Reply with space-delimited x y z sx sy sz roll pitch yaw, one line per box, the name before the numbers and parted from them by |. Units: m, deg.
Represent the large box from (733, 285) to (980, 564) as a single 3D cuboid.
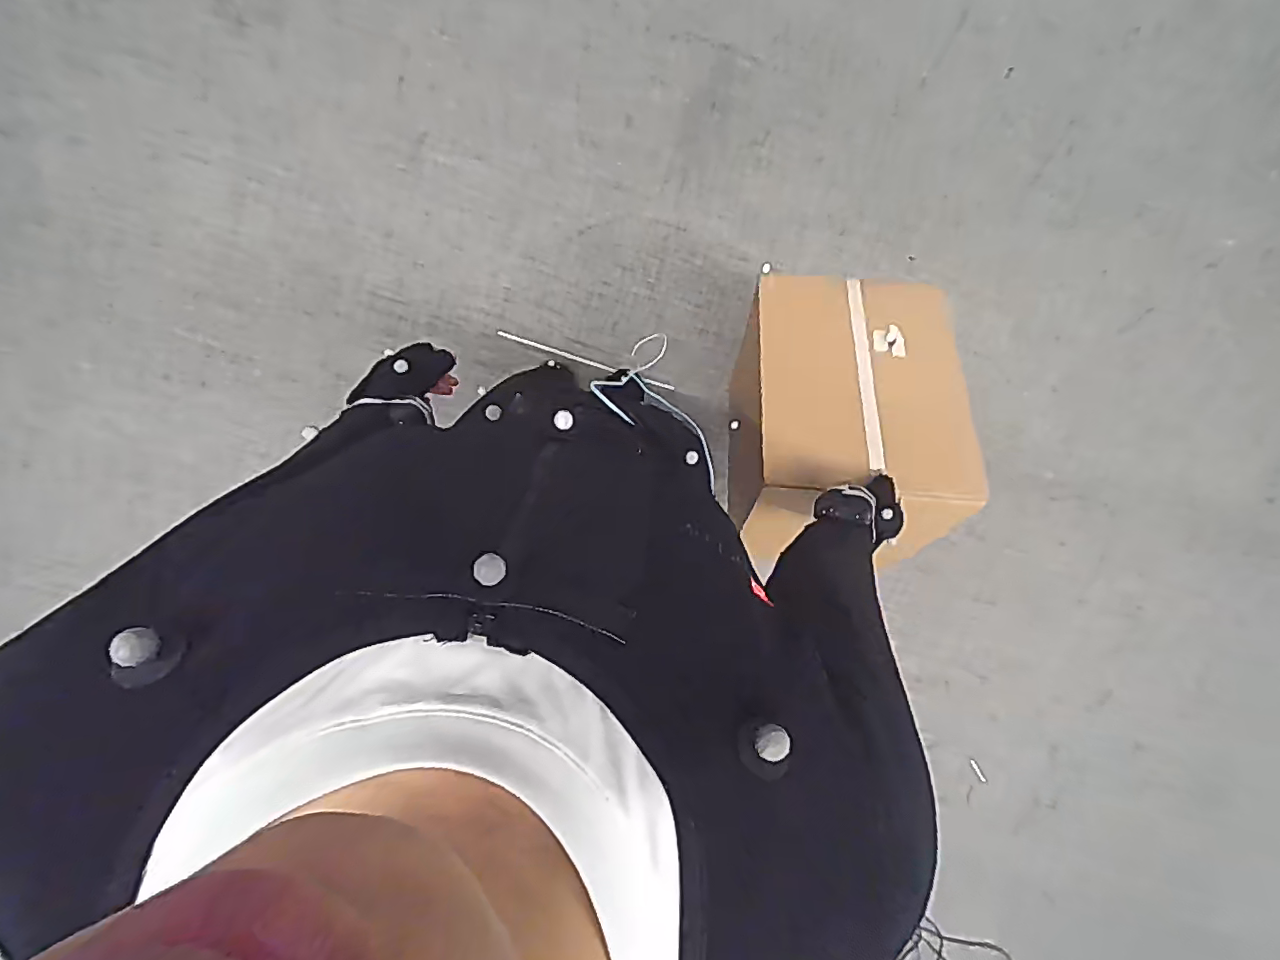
large box | 0.342 -0.087 0.982 0.320 0.320 0.408 5 64 1
